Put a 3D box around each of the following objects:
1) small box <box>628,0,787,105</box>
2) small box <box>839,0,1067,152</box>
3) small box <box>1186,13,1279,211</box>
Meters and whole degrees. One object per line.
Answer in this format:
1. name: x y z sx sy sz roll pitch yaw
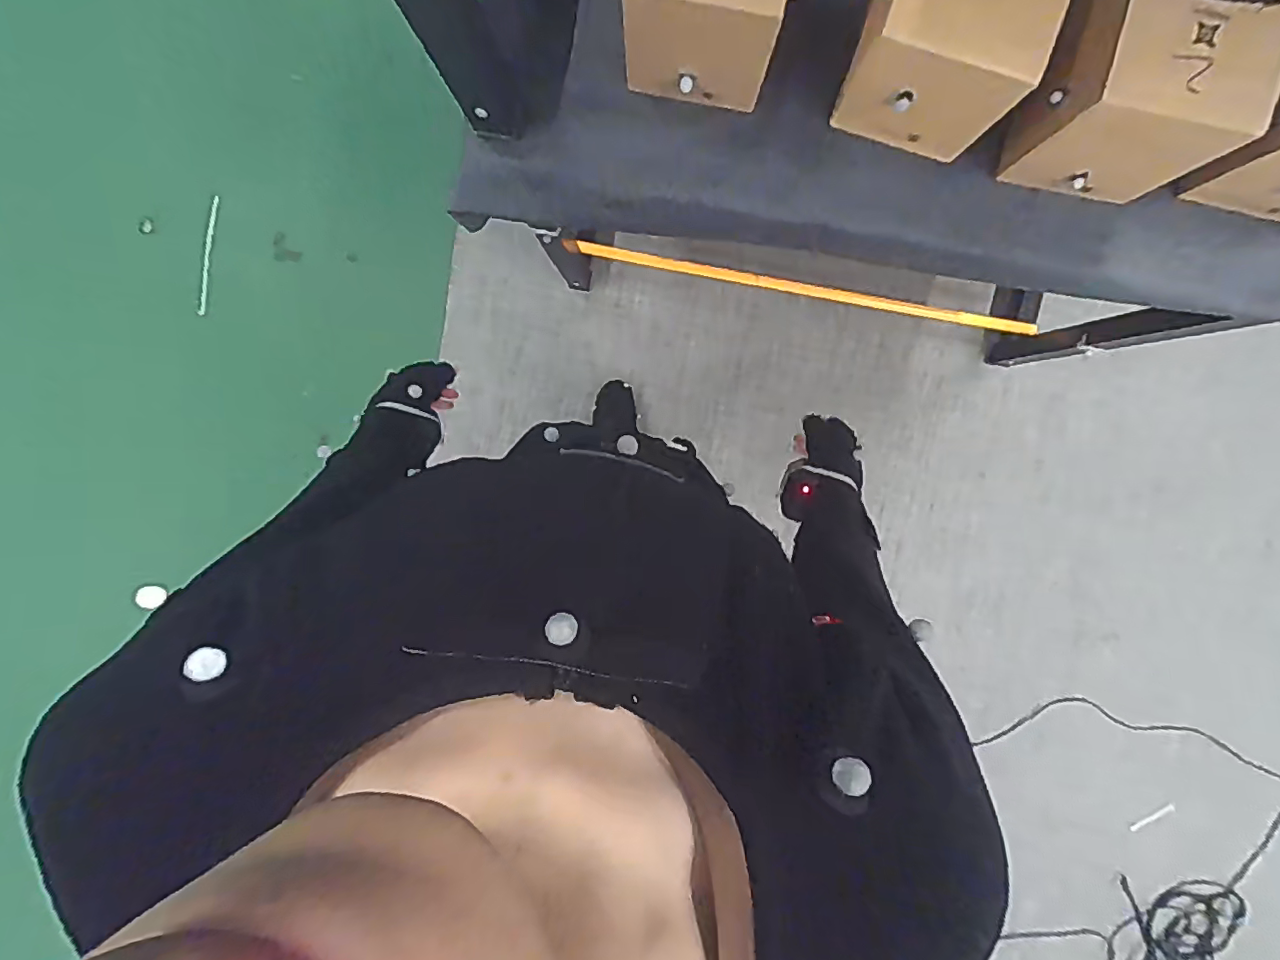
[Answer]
1. small box: 0.080 -0.567 0.601 0.168 0.176 0.179 11 97 0
2. small box: 0.343 -0.508 0.603 0.168 0.176 0.179 17 96 0
3. small box: 0.776 -0.423 0.596 0.168 0.176 0.179 14 96 0
